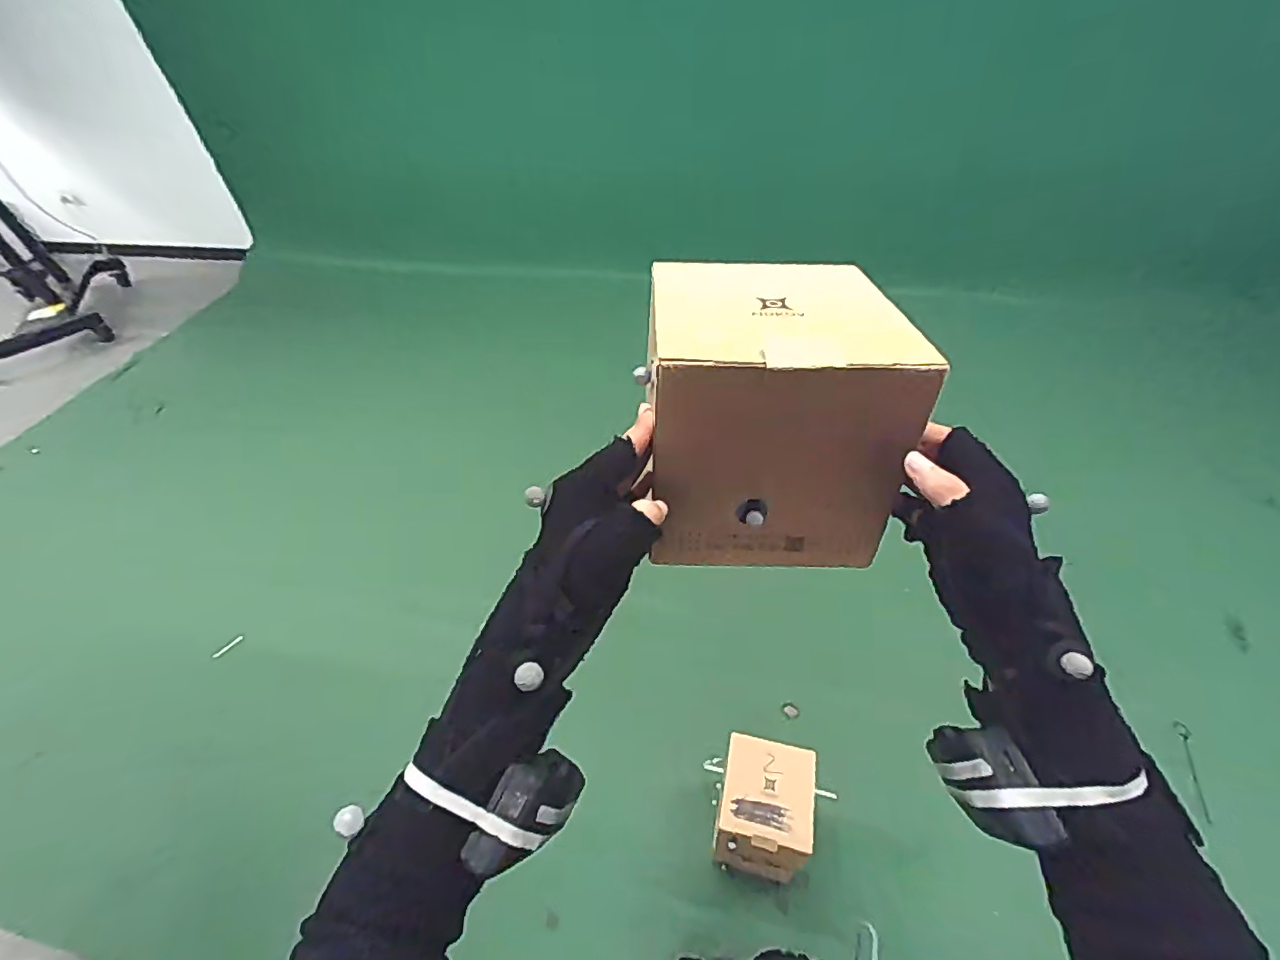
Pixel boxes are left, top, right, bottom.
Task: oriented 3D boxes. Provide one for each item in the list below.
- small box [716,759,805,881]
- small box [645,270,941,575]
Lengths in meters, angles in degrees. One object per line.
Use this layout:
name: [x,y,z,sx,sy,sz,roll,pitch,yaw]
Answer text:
small box: [0.261,0.750,1.187,0.168,0.176,0.179,9,48,13]
small box: [0.089,-0.049,0.420,0.168,0.176,0.179,1,40,-1]
